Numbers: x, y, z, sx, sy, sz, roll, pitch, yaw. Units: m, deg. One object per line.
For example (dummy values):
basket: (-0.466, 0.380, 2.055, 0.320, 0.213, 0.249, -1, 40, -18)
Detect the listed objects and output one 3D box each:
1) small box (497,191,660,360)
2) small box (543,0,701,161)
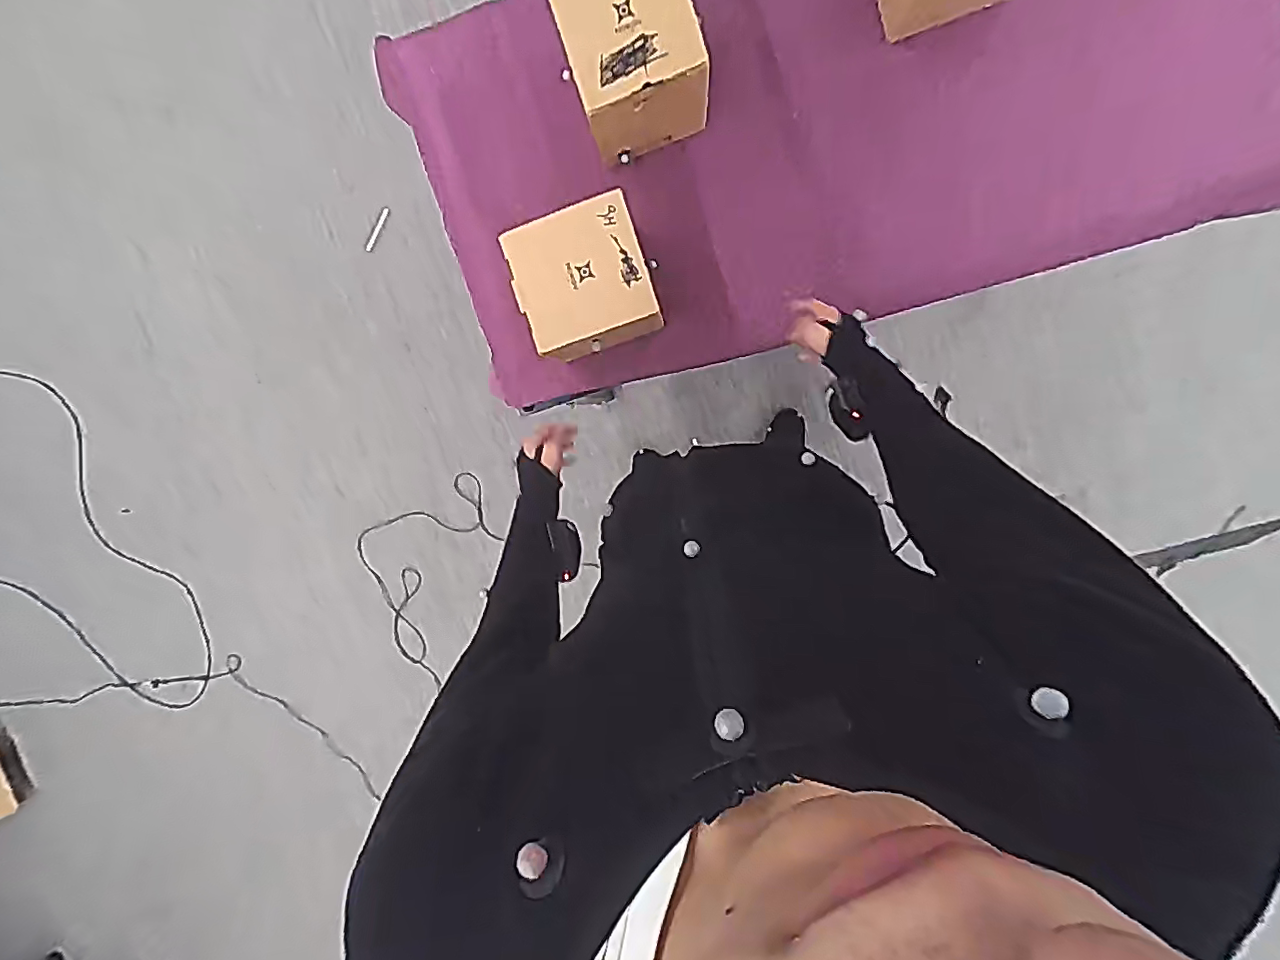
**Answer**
small box: (-0.078, -0.283, 0.795, 0.179, 0.176, 0.168, -17, 96, 7)
small box: (-0.017, -0.579, 0.751, 0.168, 0.176, 0.179, -18, 96, 7)
